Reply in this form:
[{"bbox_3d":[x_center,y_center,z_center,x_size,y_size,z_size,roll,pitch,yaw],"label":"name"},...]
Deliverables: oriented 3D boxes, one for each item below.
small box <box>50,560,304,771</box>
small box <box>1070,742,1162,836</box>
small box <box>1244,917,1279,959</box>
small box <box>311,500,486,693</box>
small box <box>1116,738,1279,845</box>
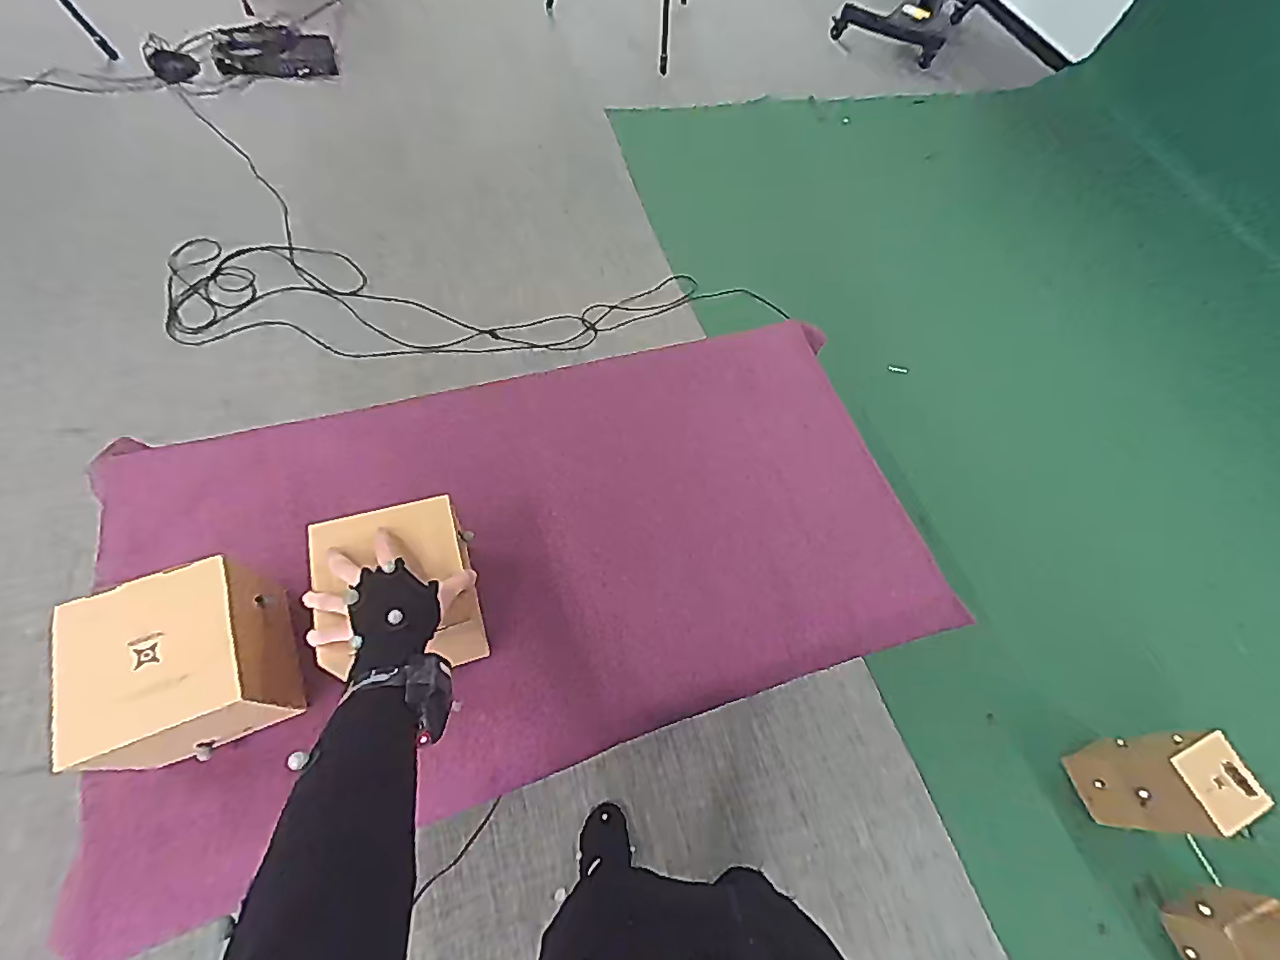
[{"bbox_3d":[-0.533,0.223,0.644,0.168,0.176,0.179,-19,67,-16],"label":"small box"},{"bbox_3d":[1.284,0.804,1.414,0.179,0.176,0.168,-13,65,-15],"label":"small box"},{"bbox_3d":[1.451,1.043,1.125,0.179,0.176,0.168,-10,65,-13],"label":"small box"},{"bbox_3d":[-0.305,0.154,0.703,0.168,0.176,0.179,-13,62,-15],"label":"small box"},{"bbox_3d":[1.295,0.722,1.271,0.179,0.176,0.168,-17,65,-14],"label":"small box"}]
